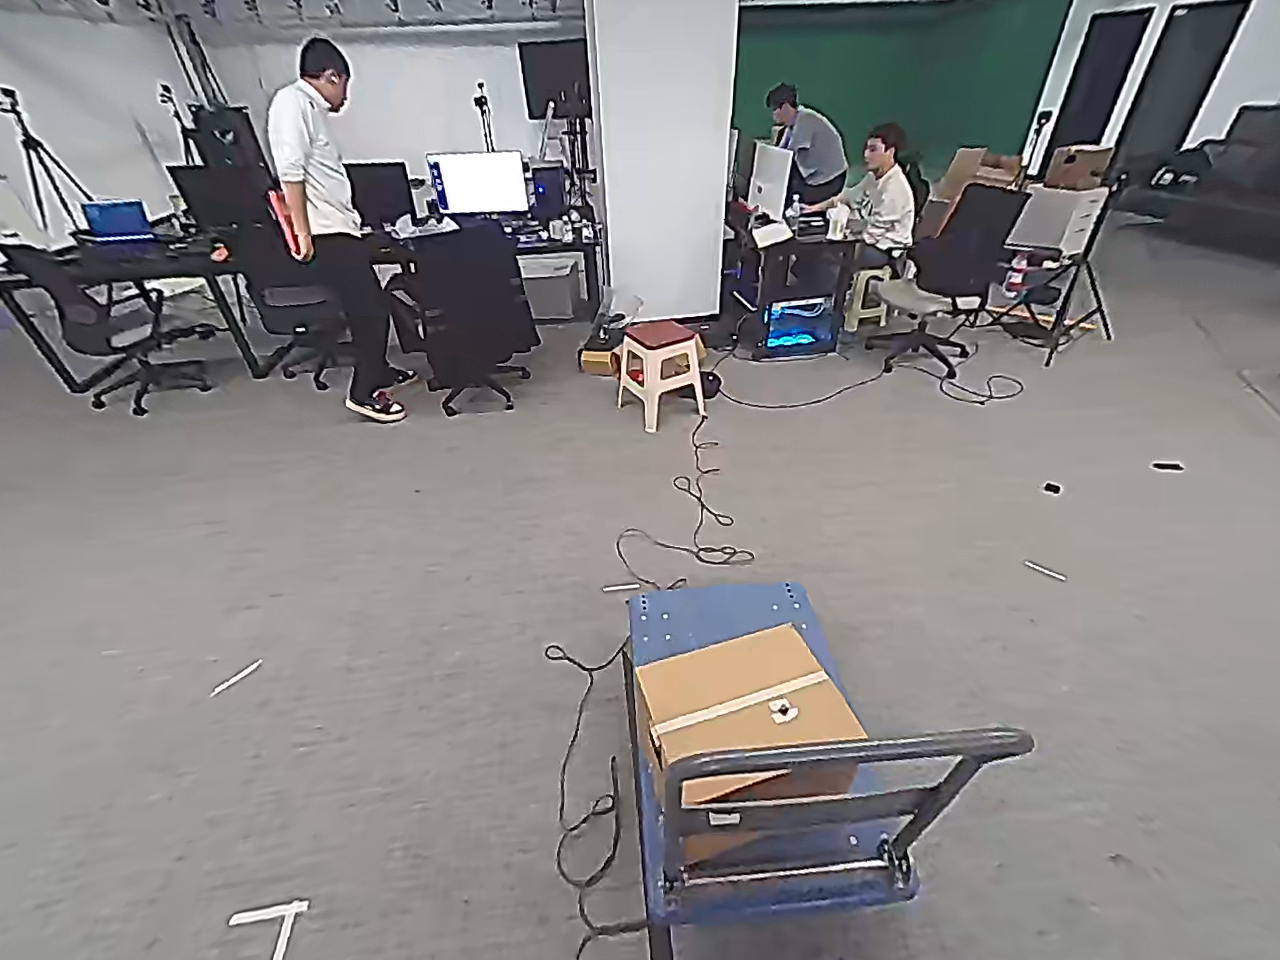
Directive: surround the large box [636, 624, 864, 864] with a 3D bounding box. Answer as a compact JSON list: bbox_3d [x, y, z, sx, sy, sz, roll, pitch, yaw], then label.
[{"bbox_3d":[0.227,0.597,1.250,0.408,0.320,0.320,-12,38,-13],"label":"large box"}]
